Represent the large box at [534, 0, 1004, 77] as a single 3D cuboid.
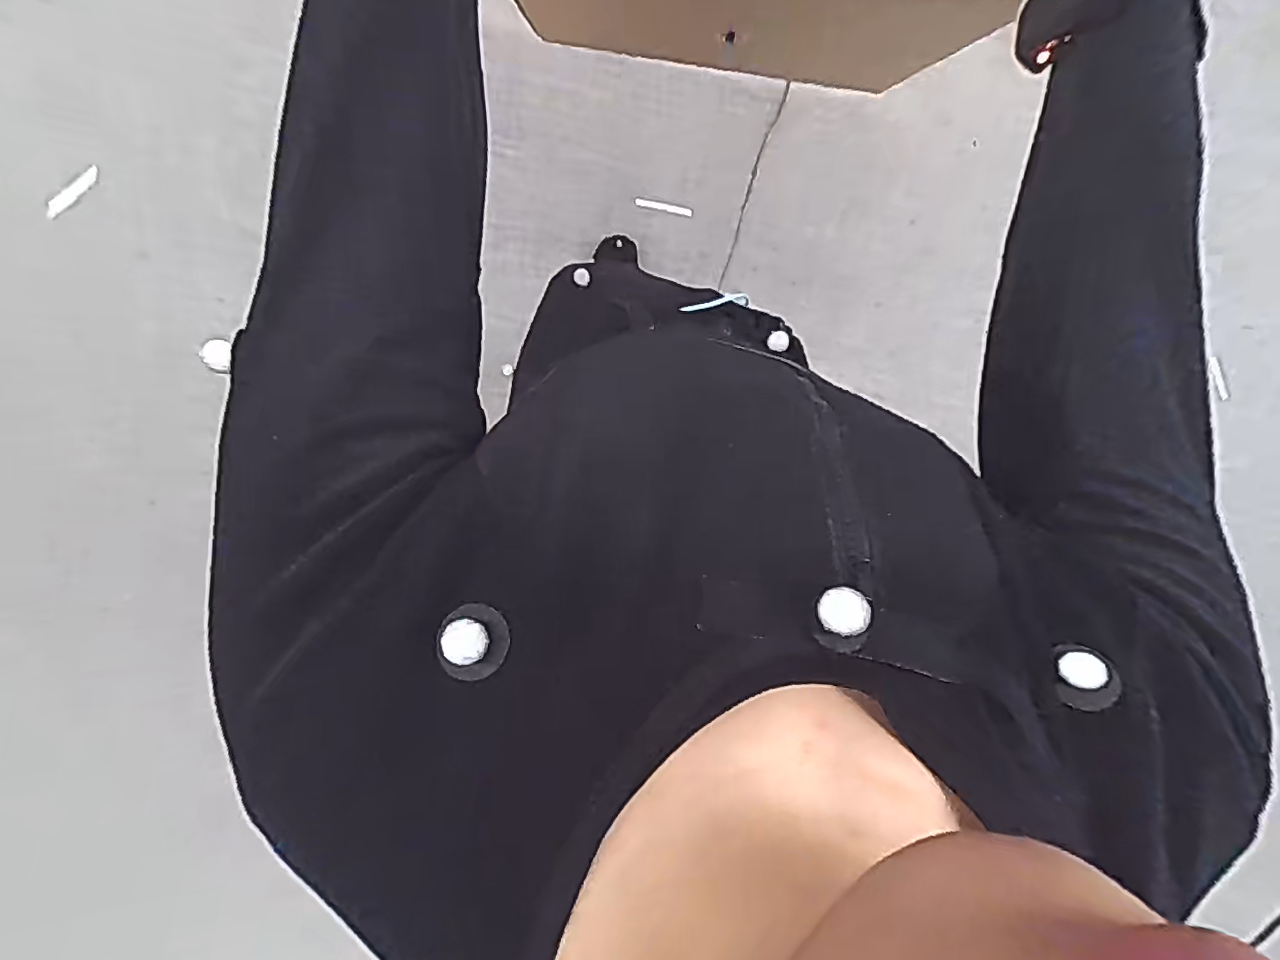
[{"bbox_3d":[0.105,-0.565,0.434,0.408,0.320,0.320,8,115,-2],"label":"large box"}]
